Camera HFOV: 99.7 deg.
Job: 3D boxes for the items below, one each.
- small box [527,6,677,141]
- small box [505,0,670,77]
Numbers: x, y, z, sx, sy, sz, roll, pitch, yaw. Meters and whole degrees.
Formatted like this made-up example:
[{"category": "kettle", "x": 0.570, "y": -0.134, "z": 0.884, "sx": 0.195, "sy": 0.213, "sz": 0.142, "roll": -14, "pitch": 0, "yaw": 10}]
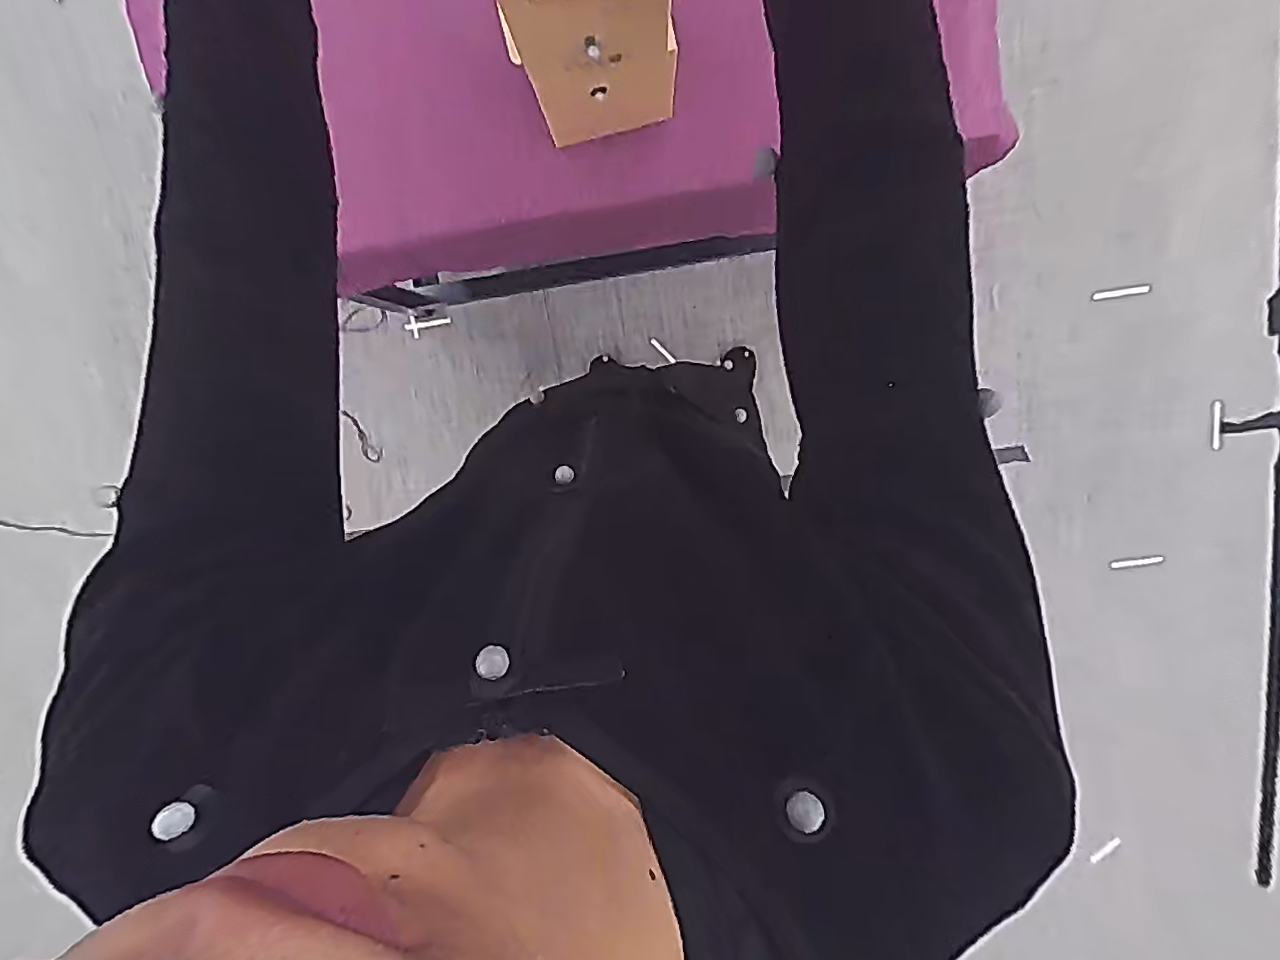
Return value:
[{"category": "small box", "x": -0.056, "y": -0.571, "z": 0.694, "sx": 0.179, "sy": 0.176, "sz": 0.168, "roll": -13, "pitch": 100, "yaw": 3}, {"category": "small box", "x": -0.060, "y": -0.547, "z": 0.532, "sx": 0.168, "sy": 0.176, "sz": 0.179, "roll": -7, "pitch": 100, "yaw": 3}]
